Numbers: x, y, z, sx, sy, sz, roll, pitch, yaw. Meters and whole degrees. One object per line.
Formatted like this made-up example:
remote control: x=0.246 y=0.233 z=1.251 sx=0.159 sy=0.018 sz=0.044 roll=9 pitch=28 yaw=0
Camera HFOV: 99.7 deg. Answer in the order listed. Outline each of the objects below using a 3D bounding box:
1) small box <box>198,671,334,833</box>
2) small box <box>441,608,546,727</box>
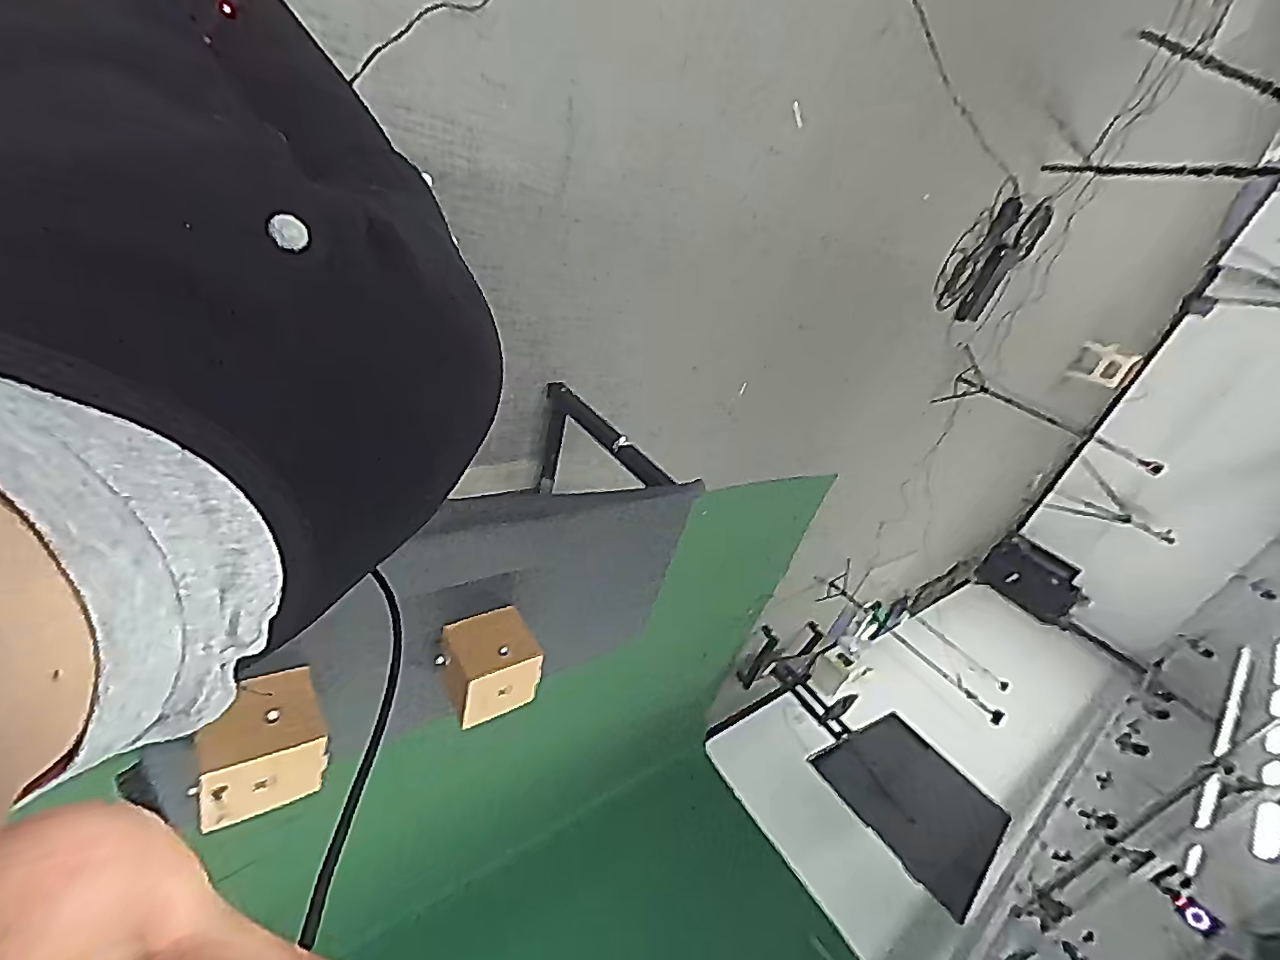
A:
small box: x=-0.677 y=0.477 z=0.978 sx=0.179 sy=0.176 sz=0.168 roll=-5 pitch=125 yaw=-42
small box: x=-0.343 y=0.424 z=1.255 sx=0.179 sy=0.176 sz=0.168 roll=-10 pitch=128 yaw=-37
